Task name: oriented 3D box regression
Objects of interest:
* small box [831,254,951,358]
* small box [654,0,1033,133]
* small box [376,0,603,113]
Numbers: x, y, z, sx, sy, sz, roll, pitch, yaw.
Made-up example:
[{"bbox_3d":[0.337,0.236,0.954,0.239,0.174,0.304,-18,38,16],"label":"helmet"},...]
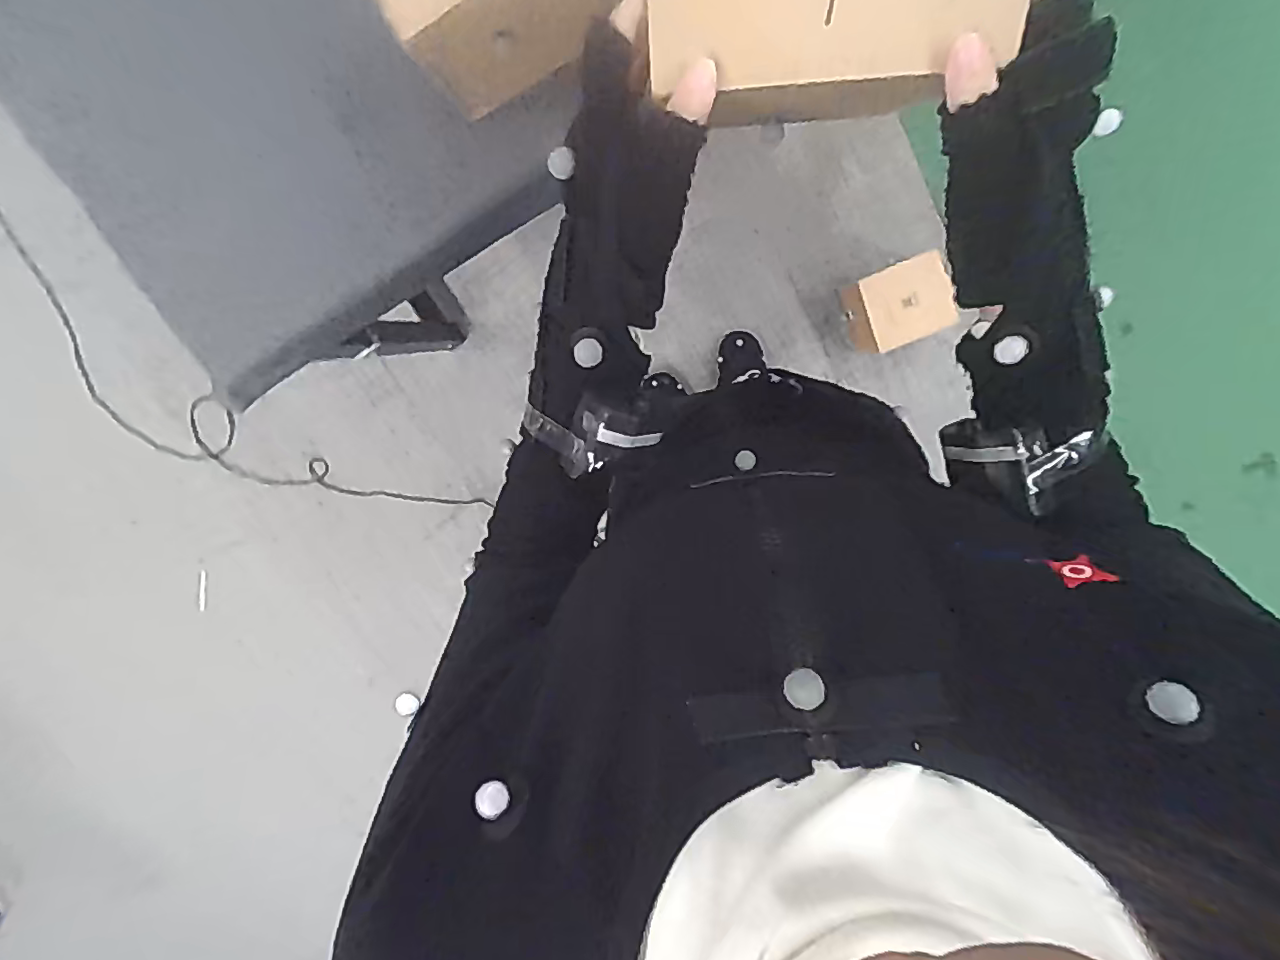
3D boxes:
[{"bbox_3d":[0.564,-0.391,1.233,0.179,0.176,0.168,-21,101,9],"label":"small box"},{"bbox_3d":[0.090,-0.295,0.281,0.168,0.176,0.179,0,118,3],"label":"small box"},{"bbox_3d":[-0.152,-0.483,0.491,0.179,0.176,0.168,-26,102,9],"label":"small box"}]
